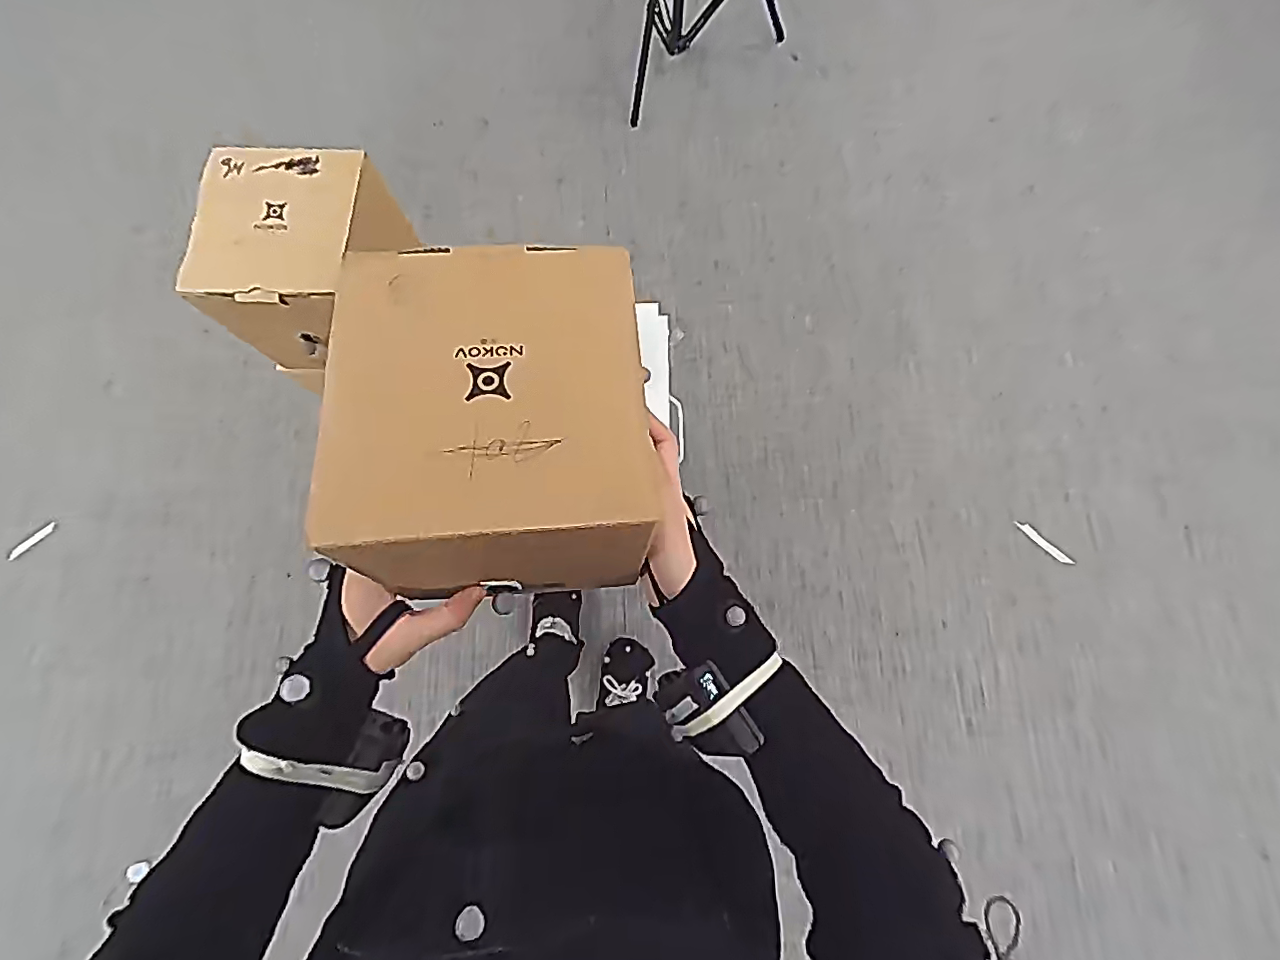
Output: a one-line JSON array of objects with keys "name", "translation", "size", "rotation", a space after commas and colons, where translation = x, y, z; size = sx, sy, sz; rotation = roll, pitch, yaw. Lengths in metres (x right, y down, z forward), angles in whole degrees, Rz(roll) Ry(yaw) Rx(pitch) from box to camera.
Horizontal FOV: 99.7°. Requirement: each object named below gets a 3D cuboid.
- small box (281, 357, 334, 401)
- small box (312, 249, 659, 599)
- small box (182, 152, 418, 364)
[{"name": "small box", "translation": [-0.374, -0.195, 0.784], "size": [0.168, 0.176, 0.179], "rotation": [2, 77, 1]}, {"name": "small box", "translation": [-0.084, -0.026, 0.361], "size": [0.168, 0.176, 0.179], "rotation": [-3, 69, -6]}, {"name": "small box", "translation": [-0.368, -0.241, 0.627], "size": [0.168, 0.176, 0.179], "rotation": [1, 77, 0]}]
